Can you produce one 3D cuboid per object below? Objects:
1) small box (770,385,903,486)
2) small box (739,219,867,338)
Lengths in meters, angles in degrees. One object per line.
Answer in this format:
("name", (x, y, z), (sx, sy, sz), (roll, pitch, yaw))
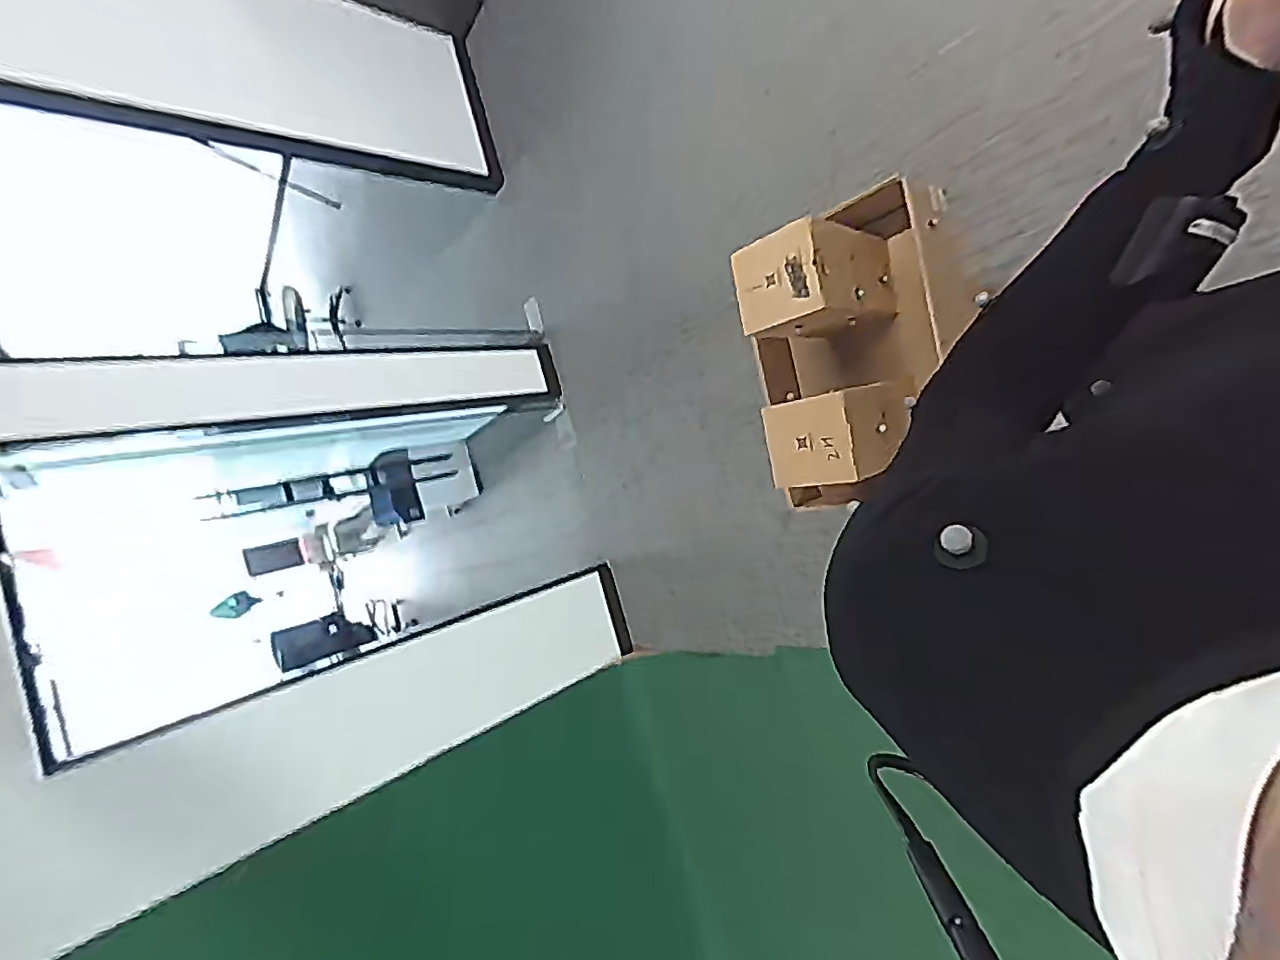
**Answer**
("small box", (0.389, -0.087, 1.069), (0.179, 0.176, 0.168), (-7, 95, 50))
("small box", (0.325, -0.386, 1.063), (0.179, 0.176, 0.168), (-9, 93, 50))
